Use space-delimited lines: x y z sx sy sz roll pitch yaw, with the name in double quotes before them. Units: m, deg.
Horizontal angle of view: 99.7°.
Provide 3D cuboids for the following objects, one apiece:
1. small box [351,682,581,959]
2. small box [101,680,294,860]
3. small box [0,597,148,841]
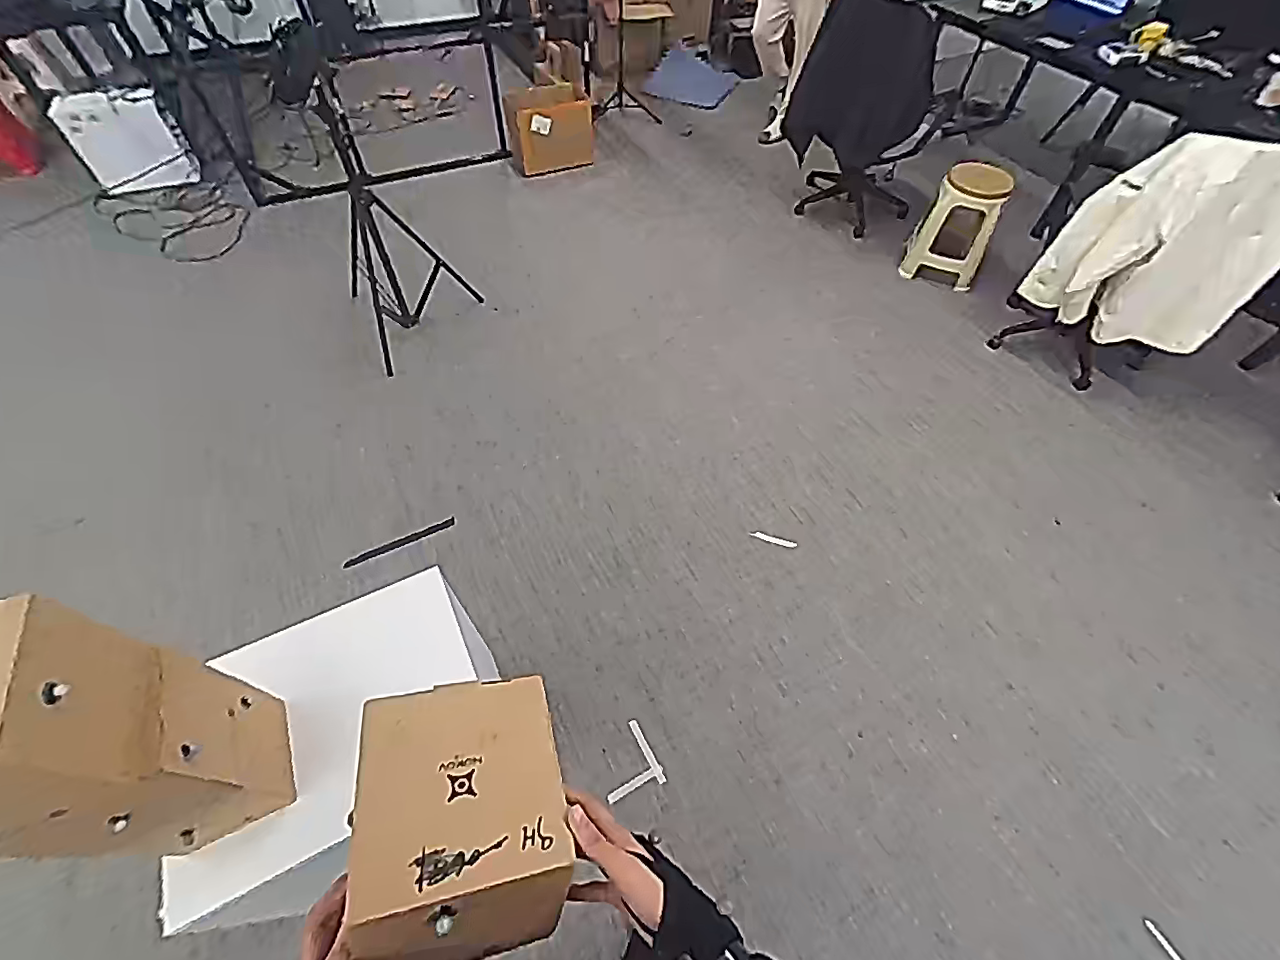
"small box" -0.162 0.321 0.502 0.168 0.176 0.179 -1 36 -21
"small box" -0.654 0.438 0.819 0.168 0.176 0.179 -21 58 -17
"small box" -0.650 0.253 0.546 0.168 0.176 0.179 -19 56 -15
